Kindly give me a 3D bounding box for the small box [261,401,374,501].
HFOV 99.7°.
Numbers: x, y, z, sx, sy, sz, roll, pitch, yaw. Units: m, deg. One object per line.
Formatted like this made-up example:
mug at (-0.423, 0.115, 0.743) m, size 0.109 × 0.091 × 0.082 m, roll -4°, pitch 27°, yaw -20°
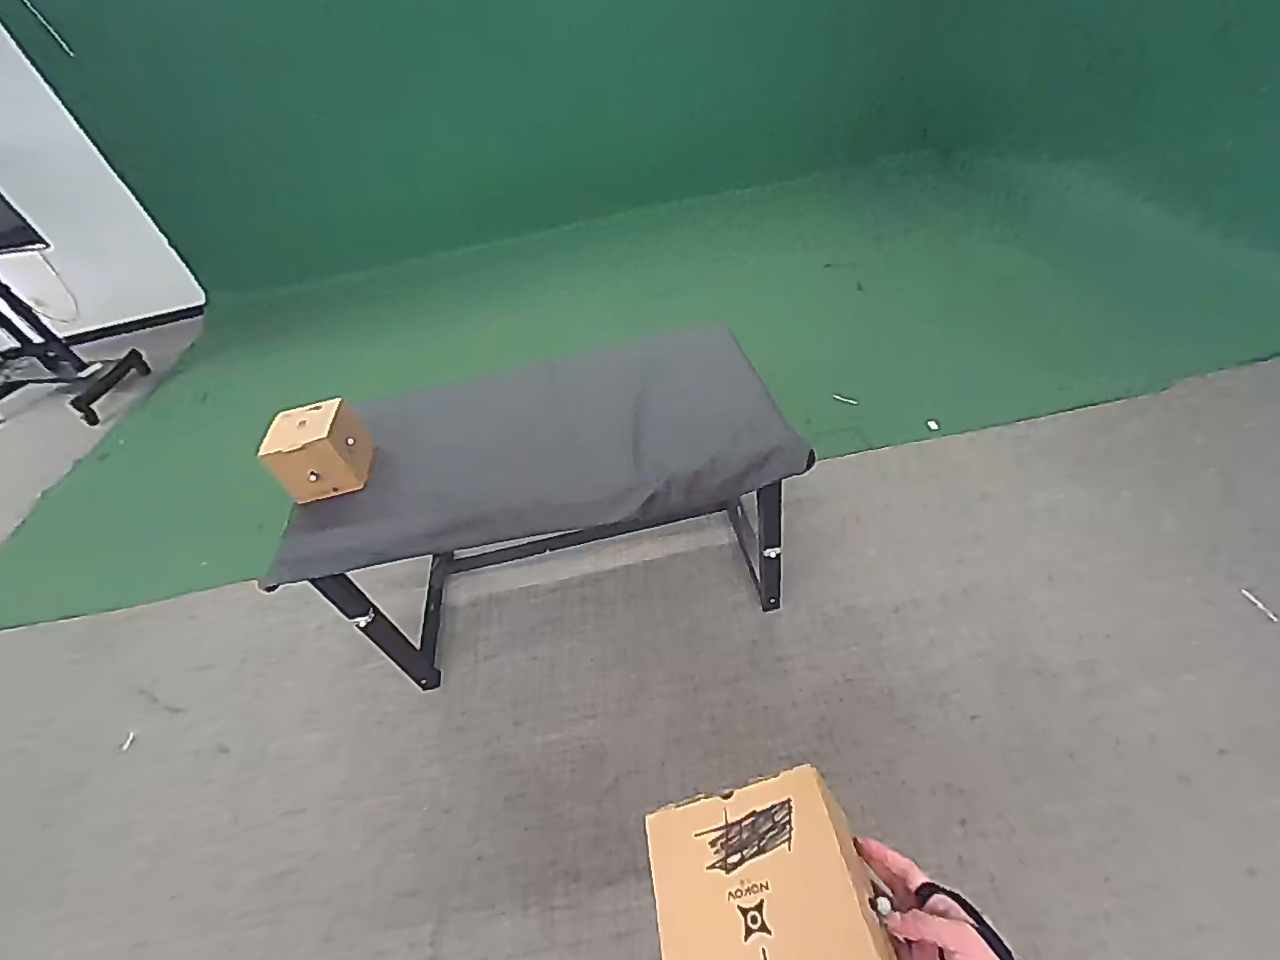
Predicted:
small box at (-0.796, -0.065, 1.358) m, size 0.168 × 0.176 × 0.179 m, roll -14°, pitch 45°, yaw -2°
